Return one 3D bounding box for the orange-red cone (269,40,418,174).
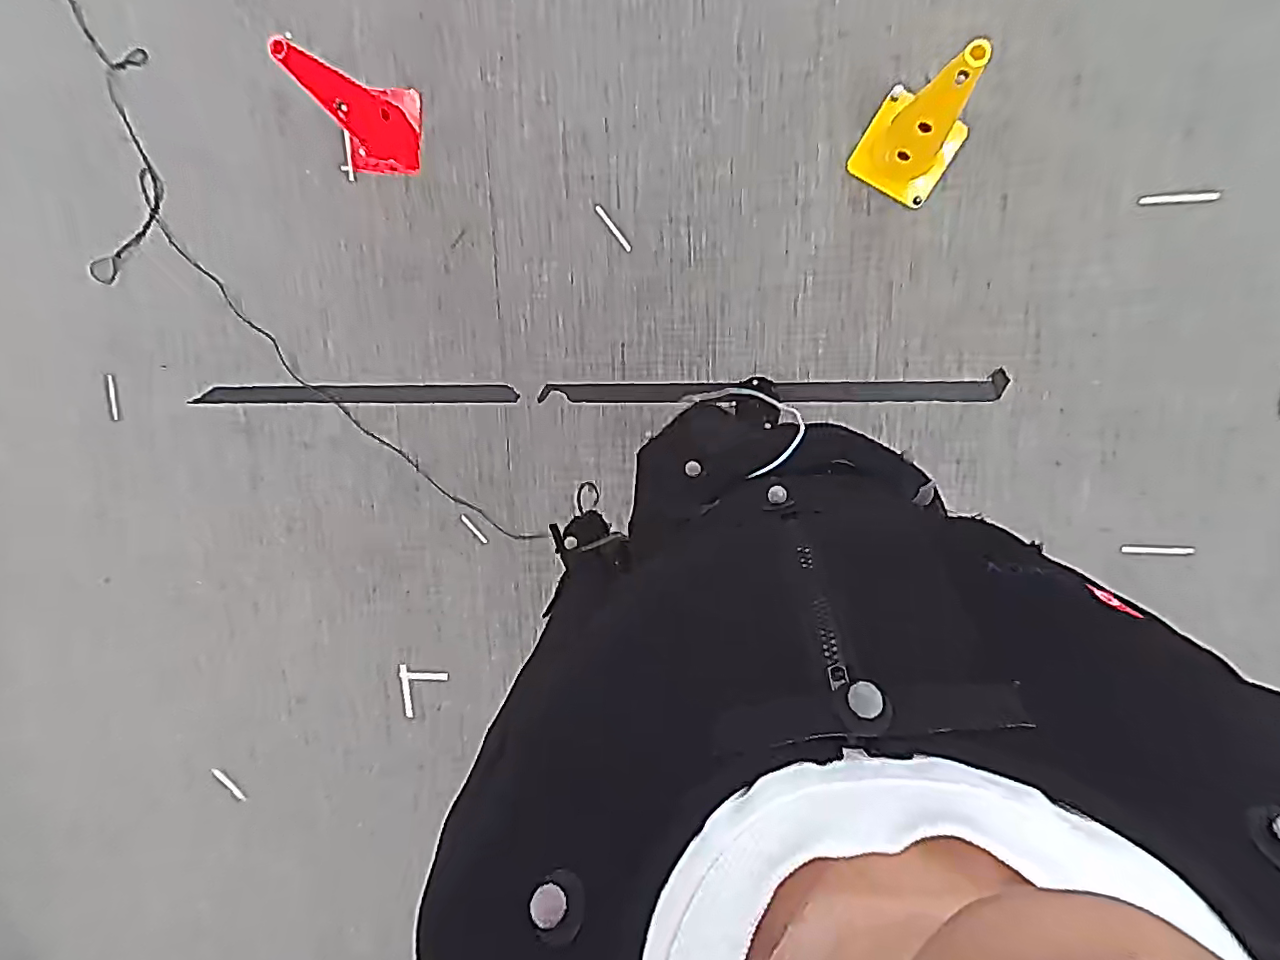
[{"bbox_3d":[-0.695,-0.883,1.243,0.199,0.360,0.198,7,100,6],"label":"orange-red cone"}]
